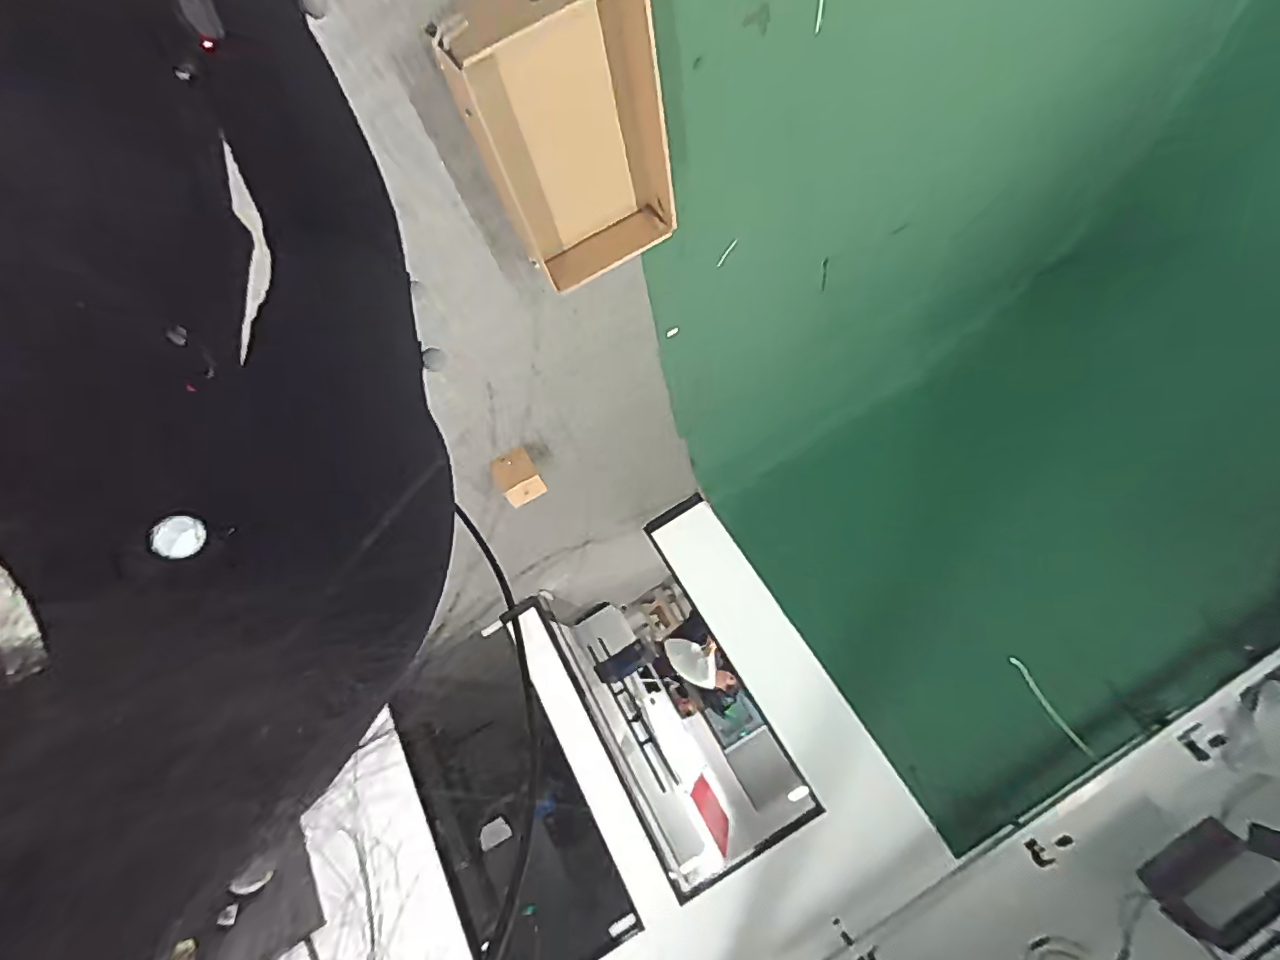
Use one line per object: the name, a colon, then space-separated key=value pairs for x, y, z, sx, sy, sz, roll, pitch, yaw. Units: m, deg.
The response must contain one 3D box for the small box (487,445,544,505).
small box: x=-0.544 y=-0.024 z=2.359 sx=0.168 sy=0.176 sz=0.179 roll=-29 pitch=156 yaw=-9
